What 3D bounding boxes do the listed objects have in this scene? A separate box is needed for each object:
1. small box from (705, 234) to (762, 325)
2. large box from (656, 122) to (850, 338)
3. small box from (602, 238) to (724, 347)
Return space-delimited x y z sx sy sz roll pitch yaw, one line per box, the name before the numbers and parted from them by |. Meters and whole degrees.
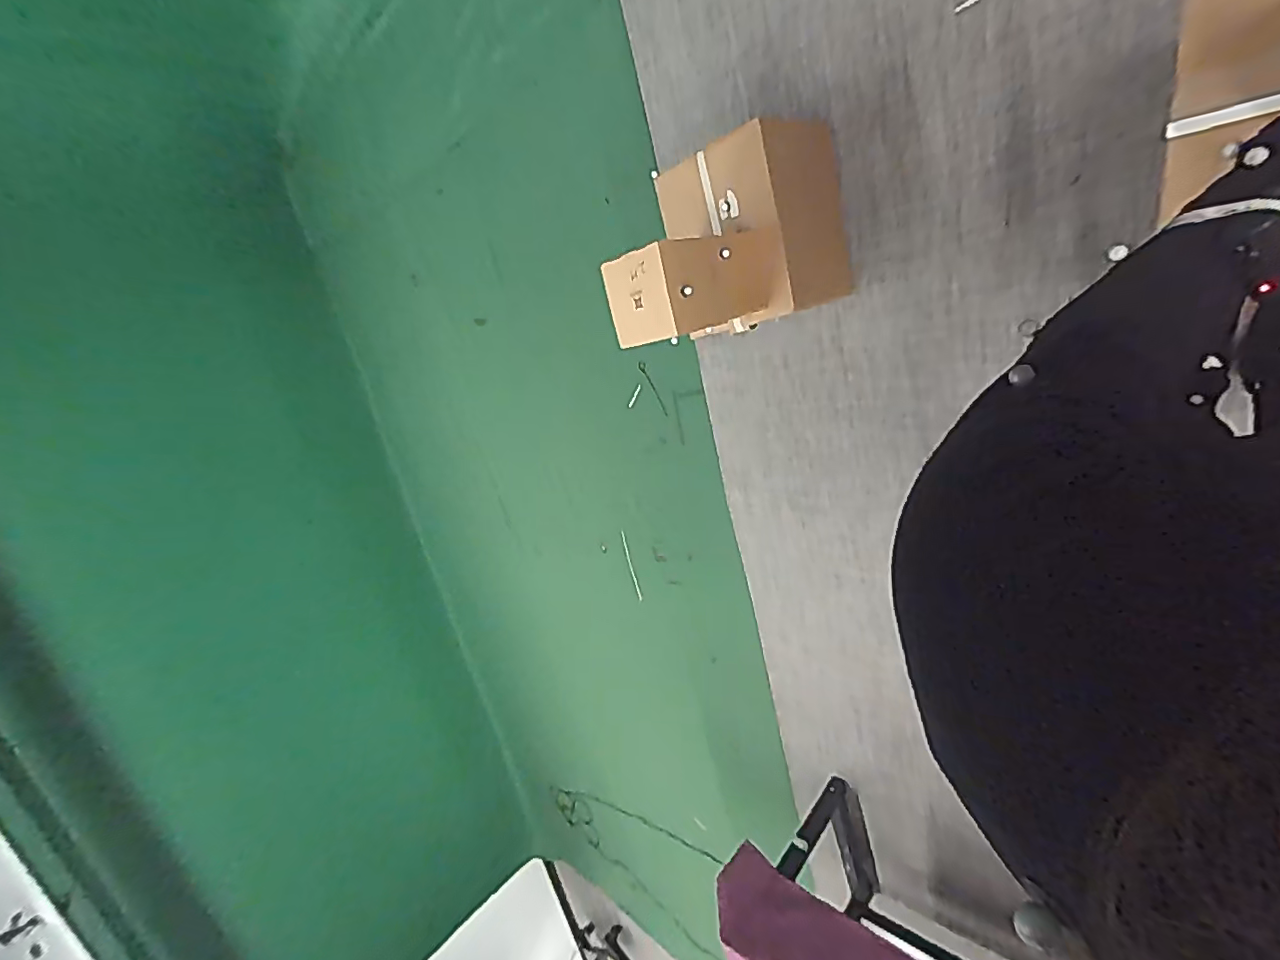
small box | 0.159 -0.444 1.227 0.168 0.176 0.179 3 112 45
large box | 0.295 -0.611 1.372 0.320 0.320 0.408 0 110 46
small box | 0.053 -0.385 1.115 0.168 0.176 0.179 3 111 45
